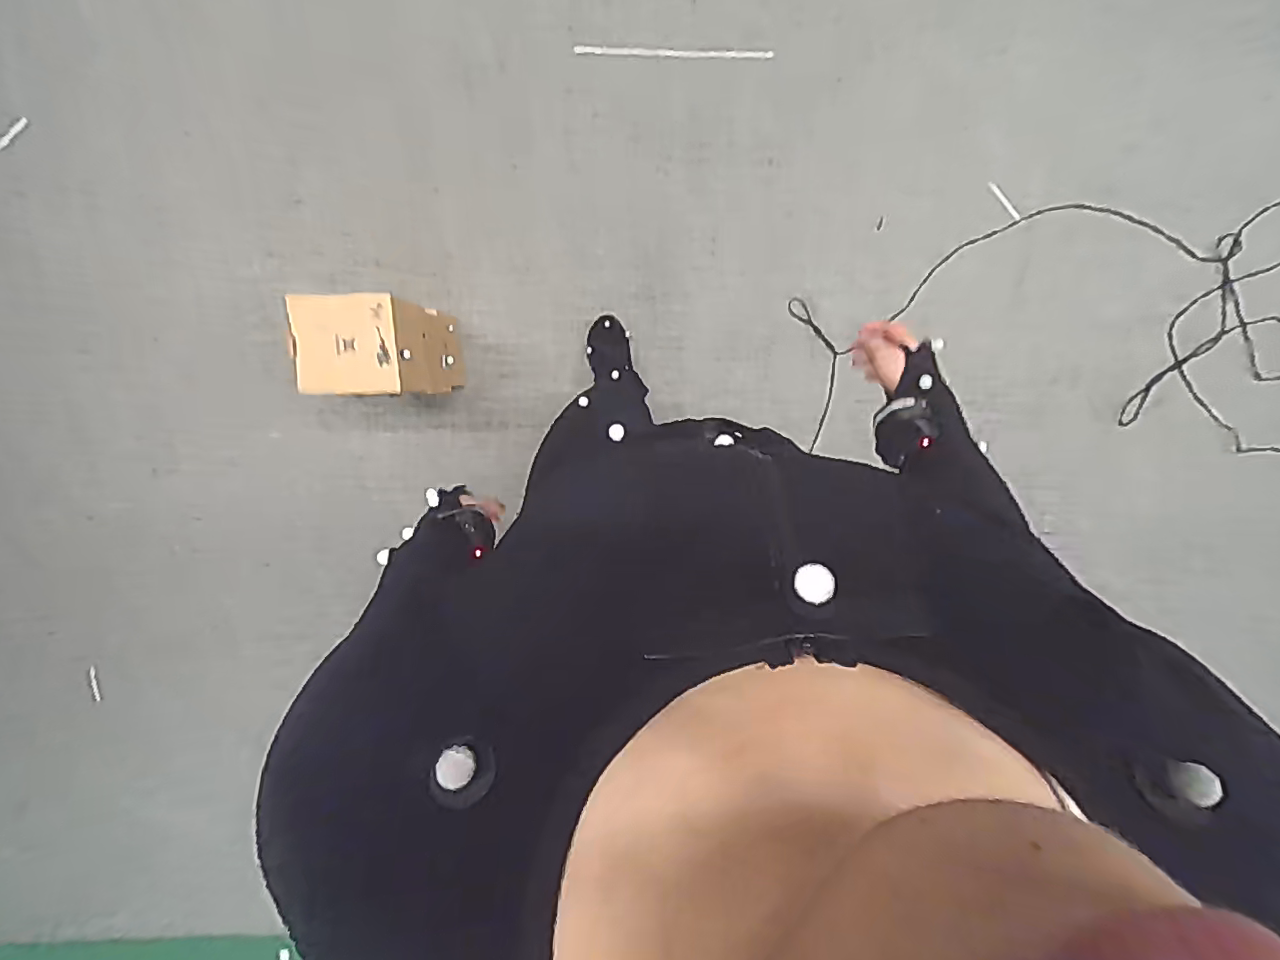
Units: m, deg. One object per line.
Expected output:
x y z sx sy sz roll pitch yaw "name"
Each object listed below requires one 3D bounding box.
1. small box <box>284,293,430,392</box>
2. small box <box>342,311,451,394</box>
-0.508 -0.246 0.993 0.179 0.176 0.168 -1 101 -2 "small box"
-0.521 -0.268 1.155 0.179 0.176 0.168 -2 101 -4 "small box"
